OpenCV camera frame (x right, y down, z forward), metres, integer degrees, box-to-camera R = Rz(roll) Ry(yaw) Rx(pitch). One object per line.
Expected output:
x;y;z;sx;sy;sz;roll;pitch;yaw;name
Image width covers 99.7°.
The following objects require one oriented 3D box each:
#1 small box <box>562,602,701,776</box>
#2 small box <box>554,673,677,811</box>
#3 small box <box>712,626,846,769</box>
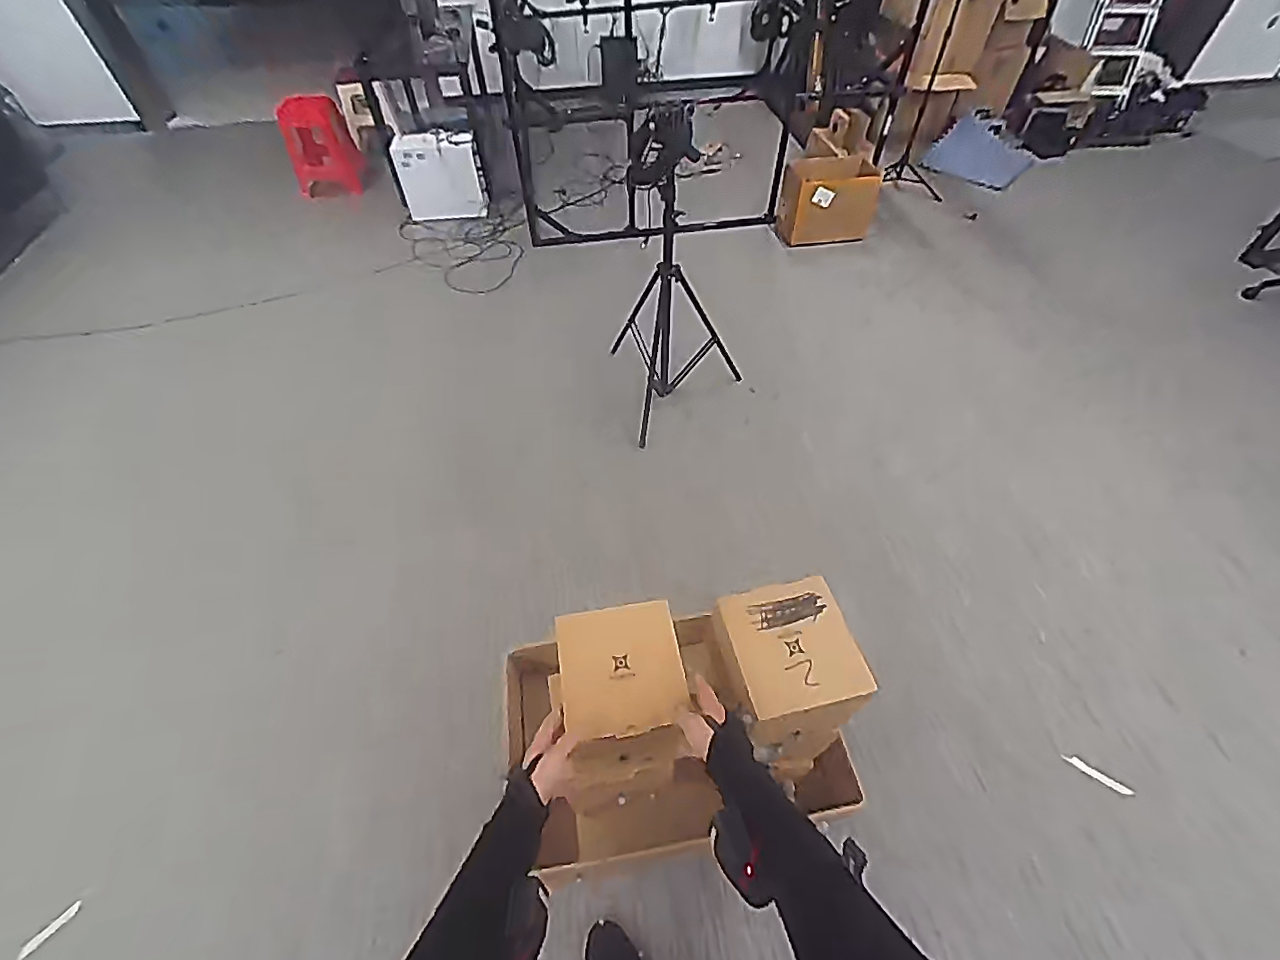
-0.020;0.303;0.782;0.168;0.176;0.179;-8;51;-8;small box
-0.045;0.421;0.896;0.168;0.176;0.179;-10;52;-9;small box
0.222;0.373;0.924;0.168;0.176;0.179;-6;51;-3;small box
